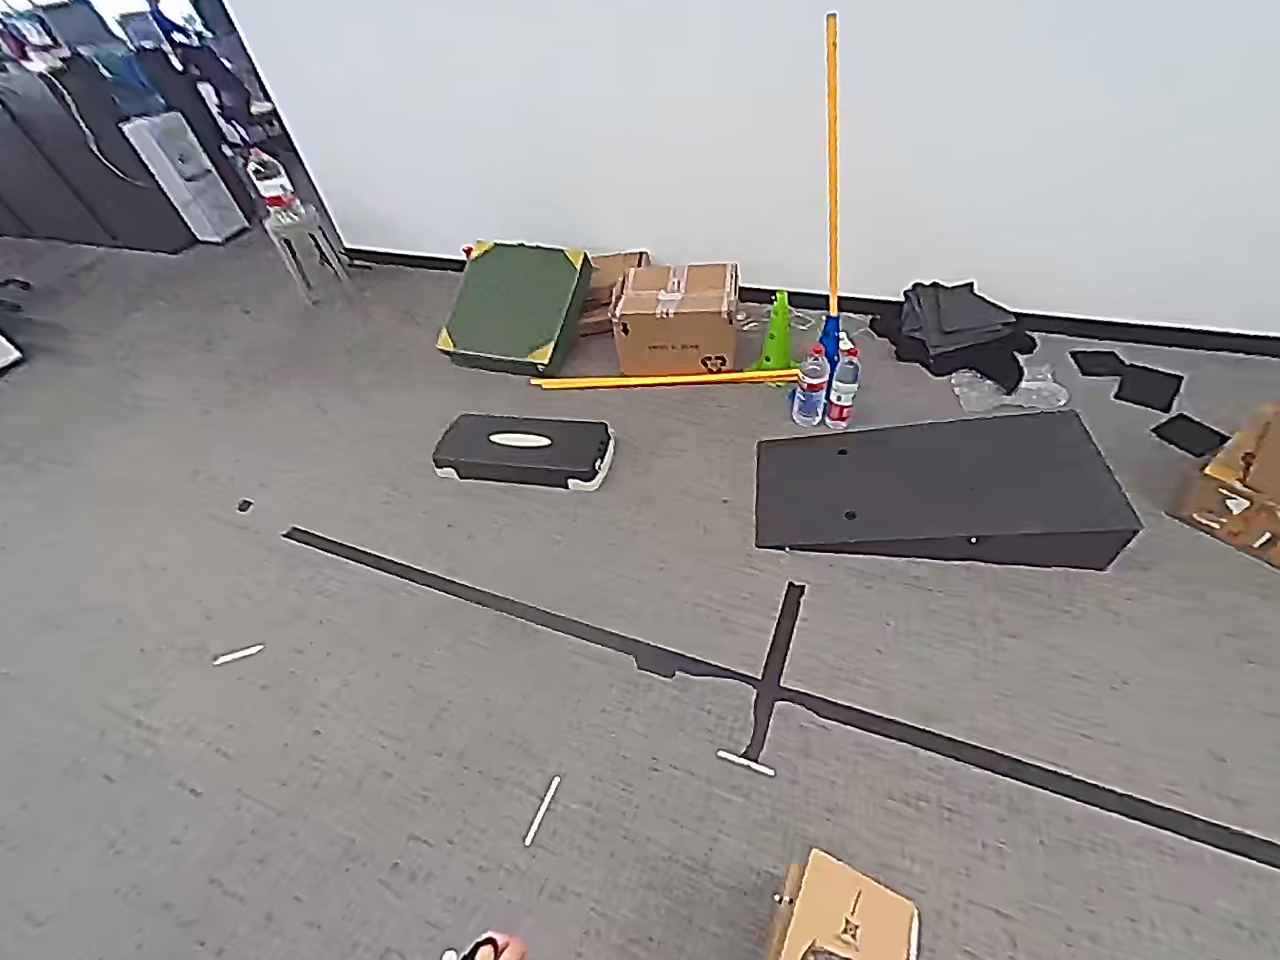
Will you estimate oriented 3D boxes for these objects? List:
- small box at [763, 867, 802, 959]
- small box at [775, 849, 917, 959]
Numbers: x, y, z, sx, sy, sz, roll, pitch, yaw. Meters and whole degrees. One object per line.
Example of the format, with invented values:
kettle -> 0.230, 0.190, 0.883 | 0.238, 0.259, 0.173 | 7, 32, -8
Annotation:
small box -> 0.339, 0.858, 1.001 | 0.179, 0.176, 0.168 | 16, 51, 20
small box -> 0.325, 0.750, 0.877 | 0.168, 0.176, 0.179 | 19, 52, 23
